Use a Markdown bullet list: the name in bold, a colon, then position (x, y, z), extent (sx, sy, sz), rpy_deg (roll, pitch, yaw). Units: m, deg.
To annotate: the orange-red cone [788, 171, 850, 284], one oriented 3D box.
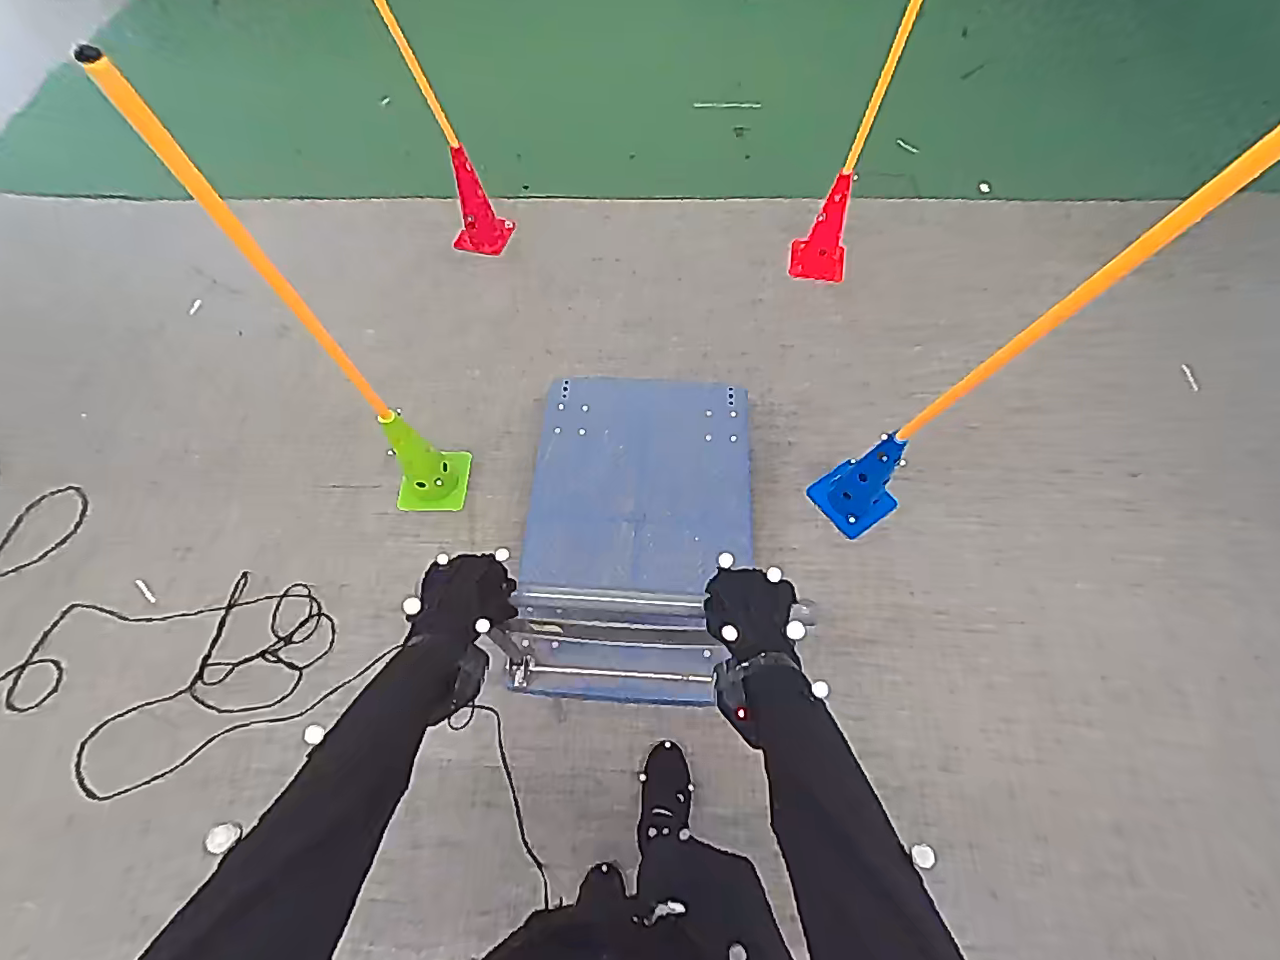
- **orange-red cone**: position (0.657, -0.889, 1.875), extent (0.198, 0.360, 0.199), rpy_deg (11, 65, 8)
